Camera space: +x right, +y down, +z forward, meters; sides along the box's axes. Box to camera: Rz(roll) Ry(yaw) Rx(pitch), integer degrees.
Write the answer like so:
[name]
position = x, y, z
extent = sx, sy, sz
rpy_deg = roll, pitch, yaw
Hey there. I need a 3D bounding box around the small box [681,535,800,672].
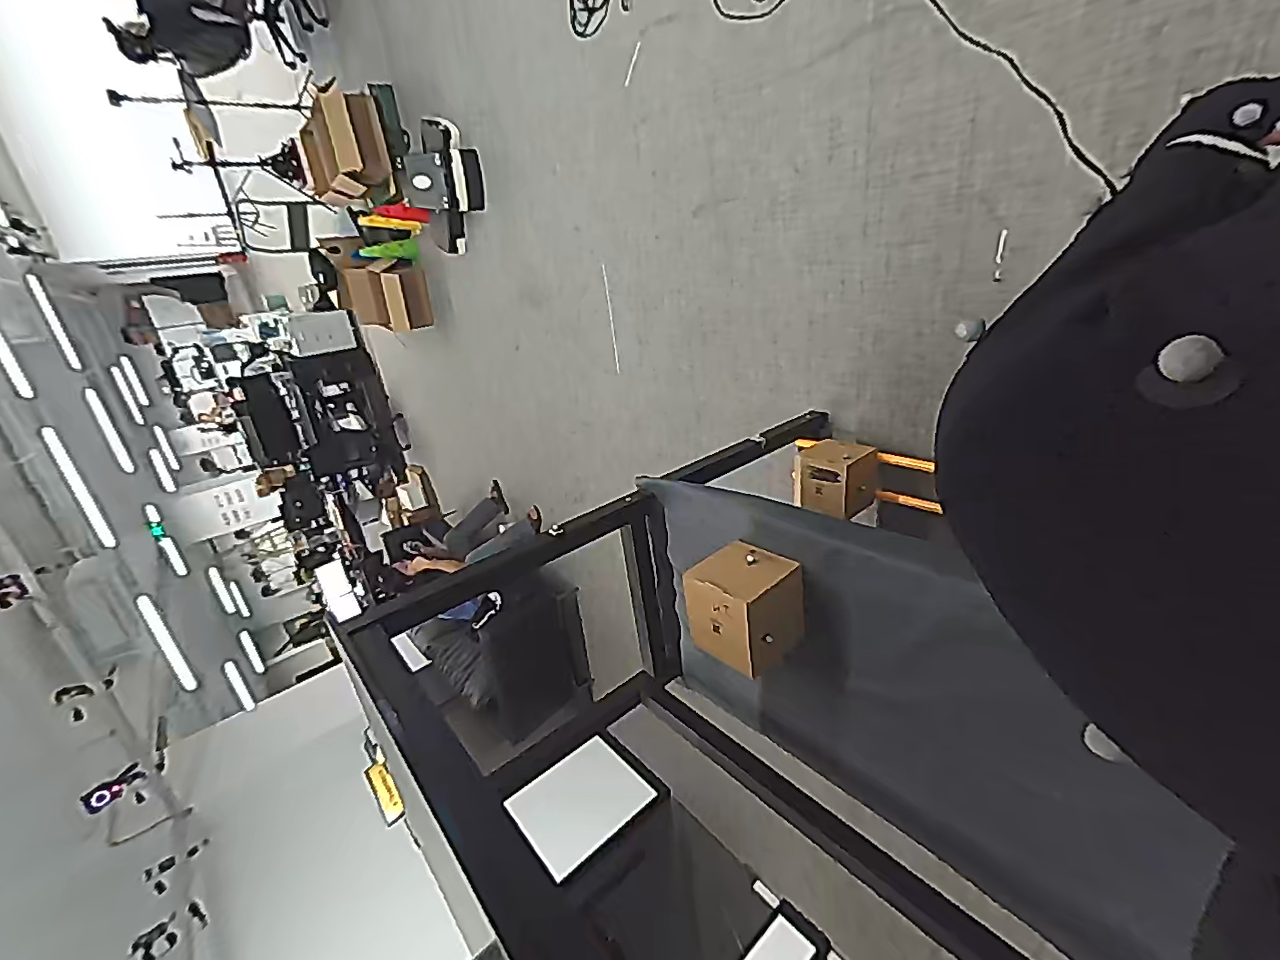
[small box]
position = 0.204, 0.237, 1.077
extent = 0.168, 0.176, 0.179
rpy_deg = 17, 123, 47
